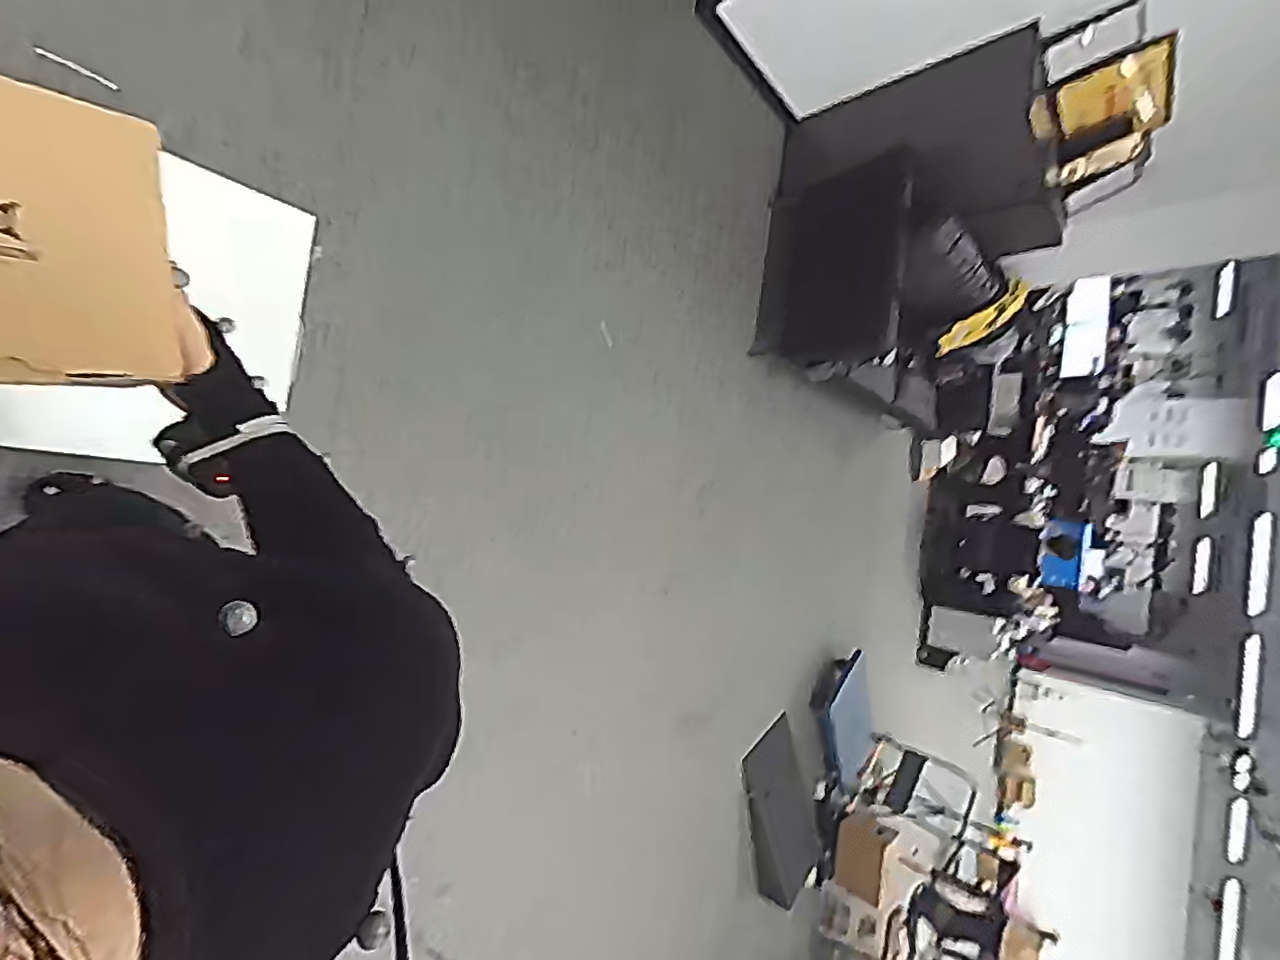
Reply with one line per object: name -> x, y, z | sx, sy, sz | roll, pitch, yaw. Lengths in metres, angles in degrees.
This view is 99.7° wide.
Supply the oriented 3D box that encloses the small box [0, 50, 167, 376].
small box -> -0.437, -0.161, 0.346 | 0.168, 0.176, 0.179 | -10, 103, -51
